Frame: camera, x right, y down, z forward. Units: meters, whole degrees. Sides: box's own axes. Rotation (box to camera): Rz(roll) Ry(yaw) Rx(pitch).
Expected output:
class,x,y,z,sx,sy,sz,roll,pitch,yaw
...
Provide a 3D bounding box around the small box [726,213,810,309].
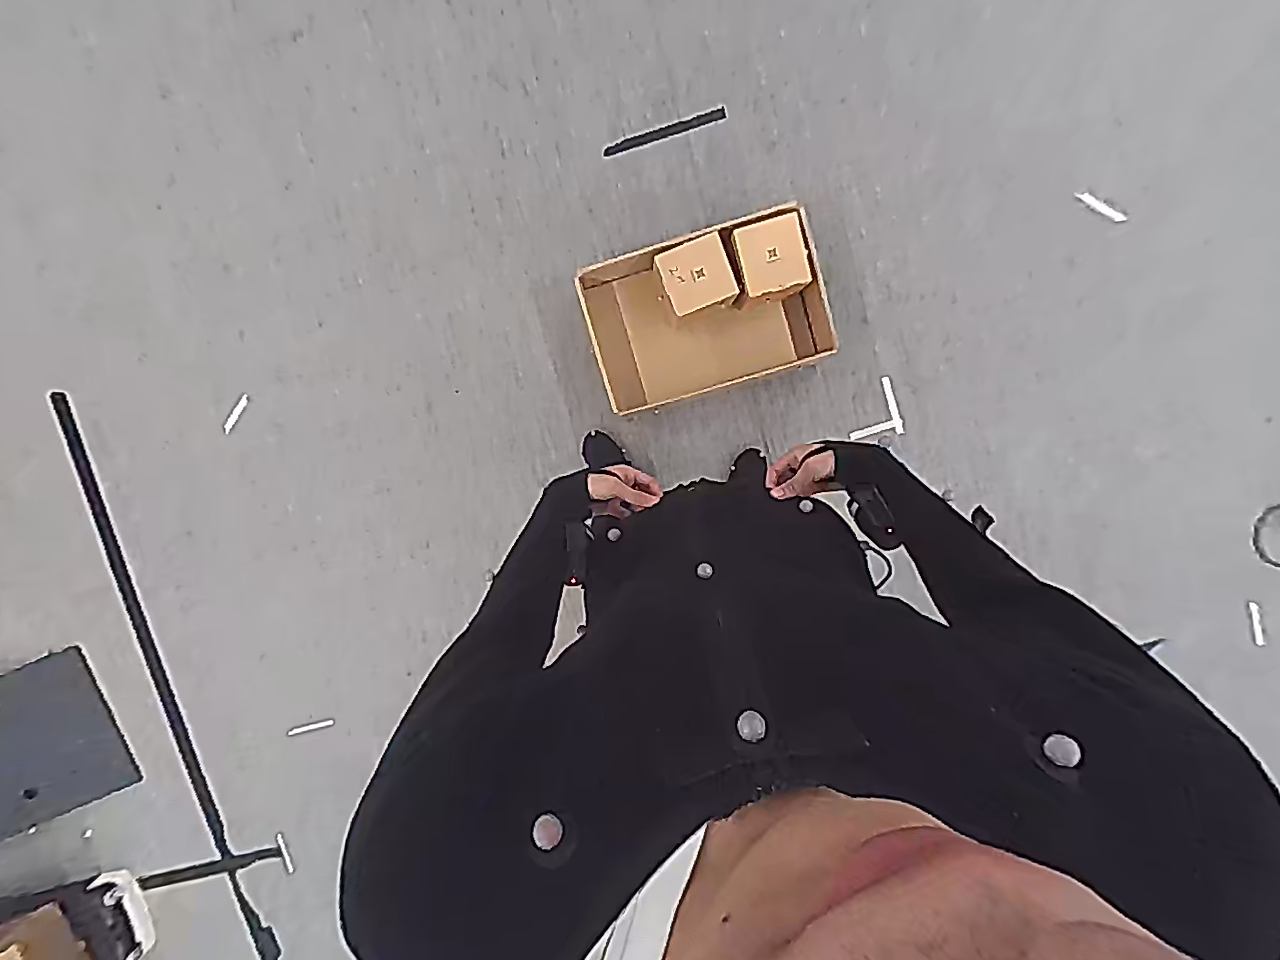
class,x,y,z,sx,sy,sz,roll,pitch,yaw
small box,0.334,-0.577,1.445,0.168,0.176,0.179,-16,97,4
